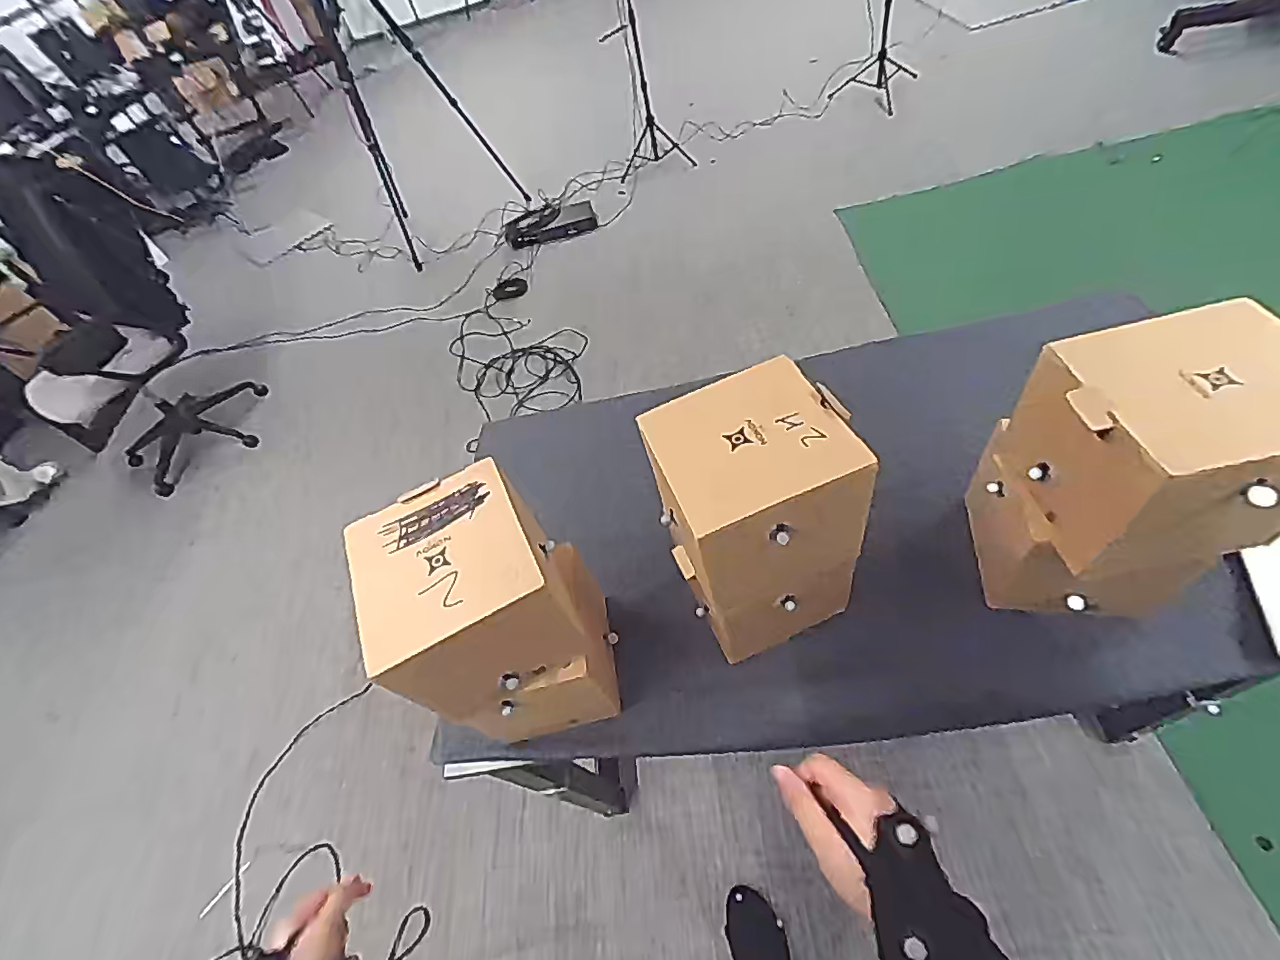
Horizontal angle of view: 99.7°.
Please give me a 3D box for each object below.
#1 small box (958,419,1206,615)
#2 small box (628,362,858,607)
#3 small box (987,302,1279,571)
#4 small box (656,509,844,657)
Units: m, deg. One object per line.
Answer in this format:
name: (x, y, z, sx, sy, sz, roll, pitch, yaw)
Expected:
small box: (0.507, 0.044, 0.658, 0.168, 0.176, 0.179, 0, 54, 16)
small box: (0.108, 0.011, 0.585, 0.179, 0.176, 0.168, -23, 52, -2)
small box: (0.476, -0.034, 0.516, 0.179, 0.176, 0.168, -14, 51, 7)
small box: (0.144, 0.106, 0.716, 0.179, 0.176, 0.168, -25, 52, -5)
